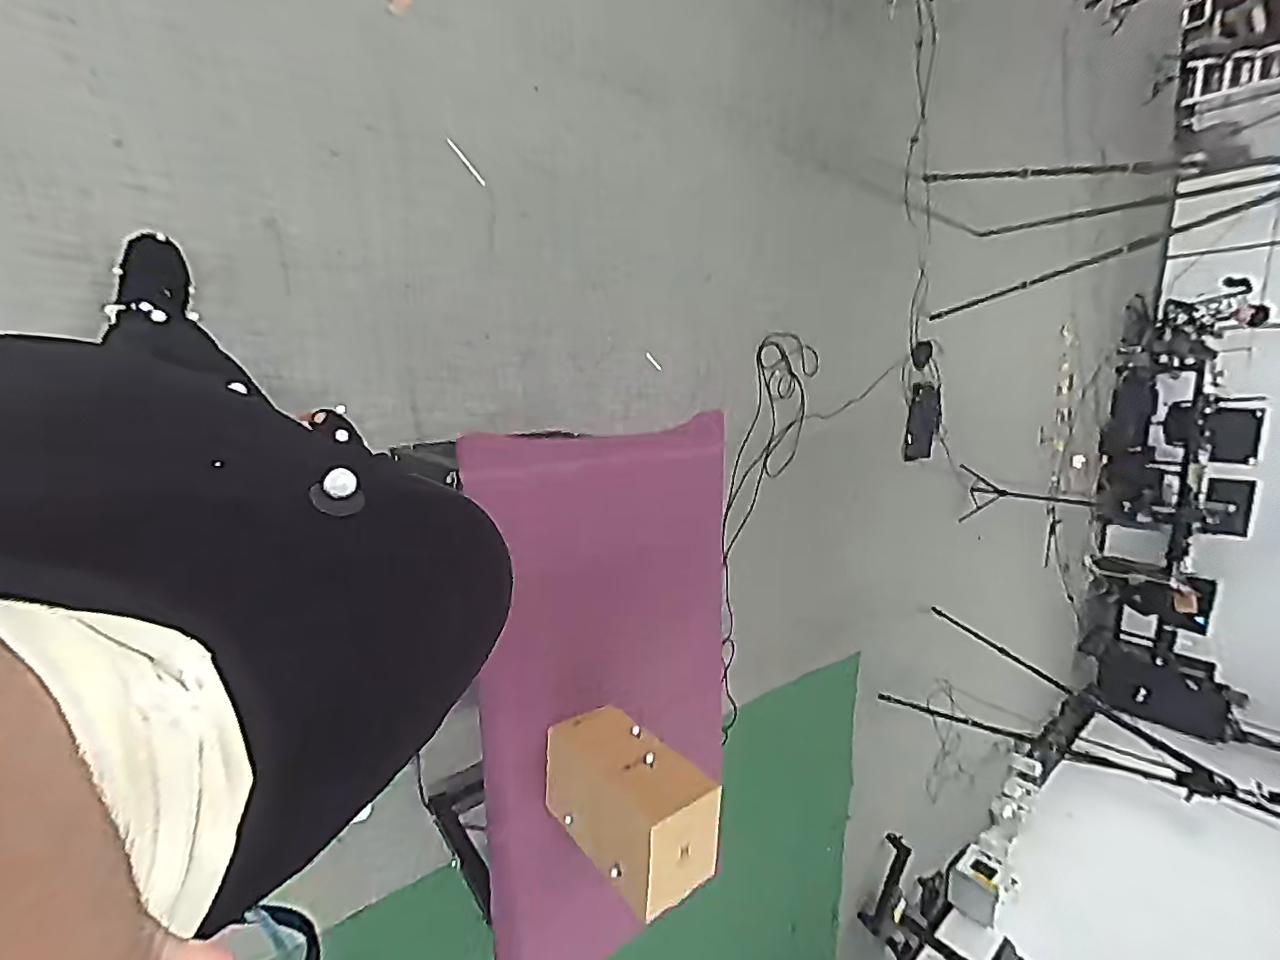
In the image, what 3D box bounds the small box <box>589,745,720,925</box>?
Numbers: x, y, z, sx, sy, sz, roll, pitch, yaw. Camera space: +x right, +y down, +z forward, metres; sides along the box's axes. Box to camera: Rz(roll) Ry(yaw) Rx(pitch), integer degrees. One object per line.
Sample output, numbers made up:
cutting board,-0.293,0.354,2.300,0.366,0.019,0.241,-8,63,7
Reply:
small box,0.021,0.619,0.969,0.168,0.176,0.179,-3,99,-39
